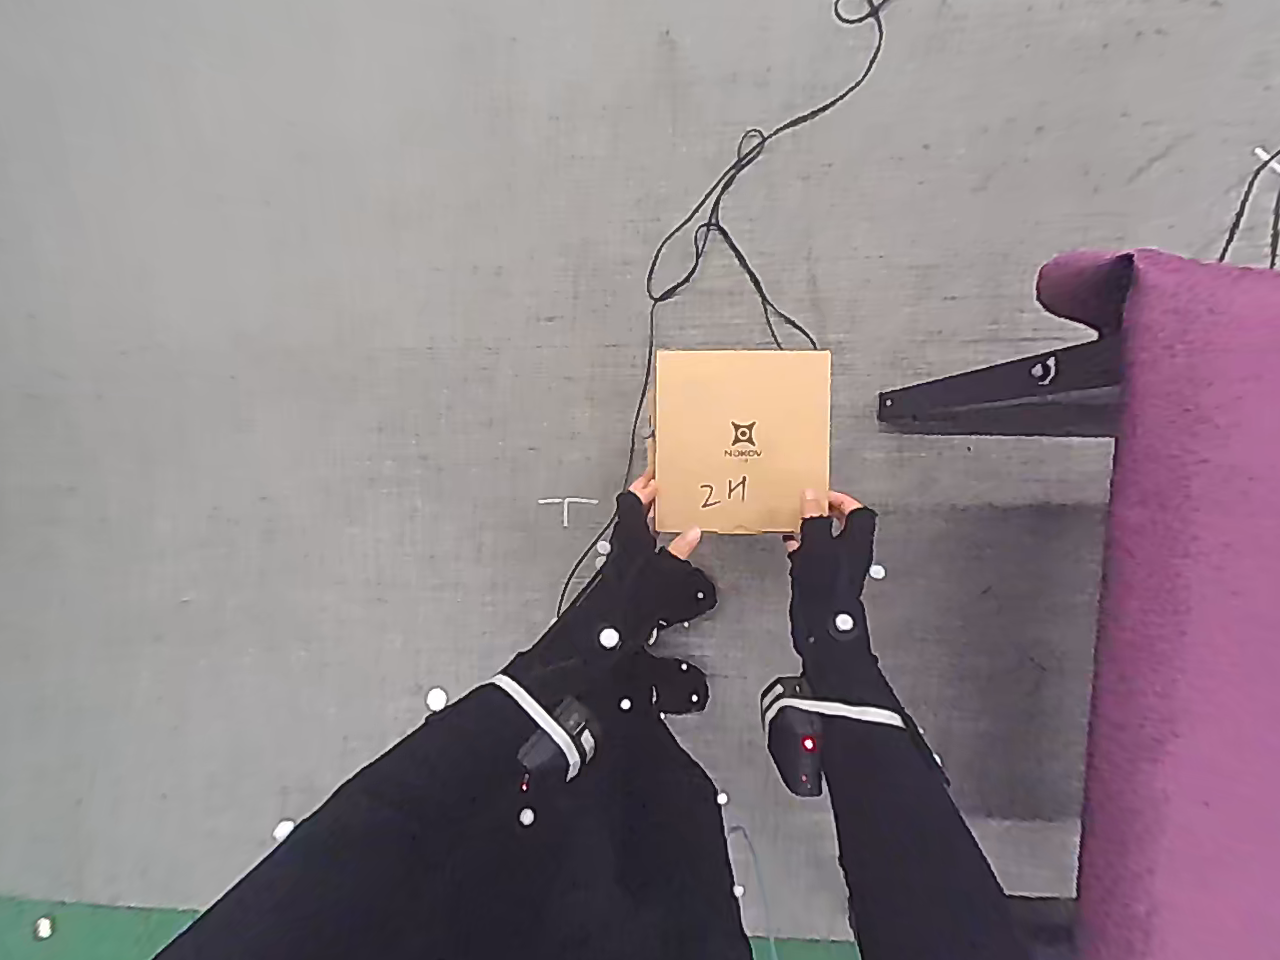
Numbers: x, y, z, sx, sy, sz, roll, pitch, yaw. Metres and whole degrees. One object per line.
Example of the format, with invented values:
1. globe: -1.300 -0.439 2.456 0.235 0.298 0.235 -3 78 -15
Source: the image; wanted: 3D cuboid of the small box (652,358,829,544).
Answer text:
1. small box: 0.098 -0.029 0.598 0.168 0.176 0.179 2 92 2
